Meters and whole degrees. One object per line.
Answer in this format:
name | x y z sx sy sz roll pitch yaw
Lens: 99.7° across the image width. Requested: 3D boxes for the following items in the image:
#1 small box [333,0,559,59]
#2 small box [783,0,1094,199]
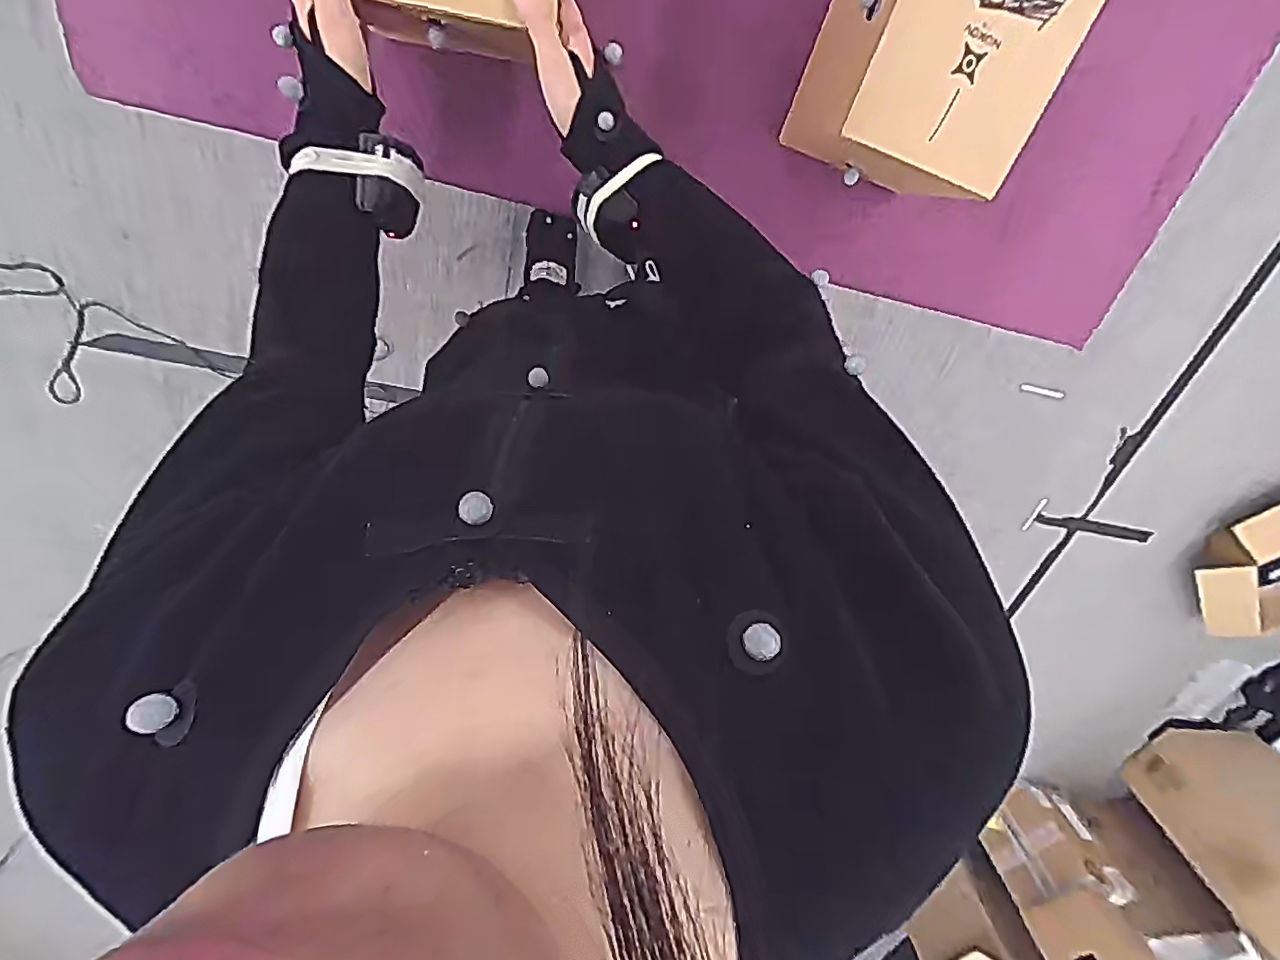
small box | -0.149 -0.457 0.427 0.179 0.176 0.168 4 120 -9
small box | 0.260 -0.391 0.513 0.168 0.176 0.179 14 118 -14
